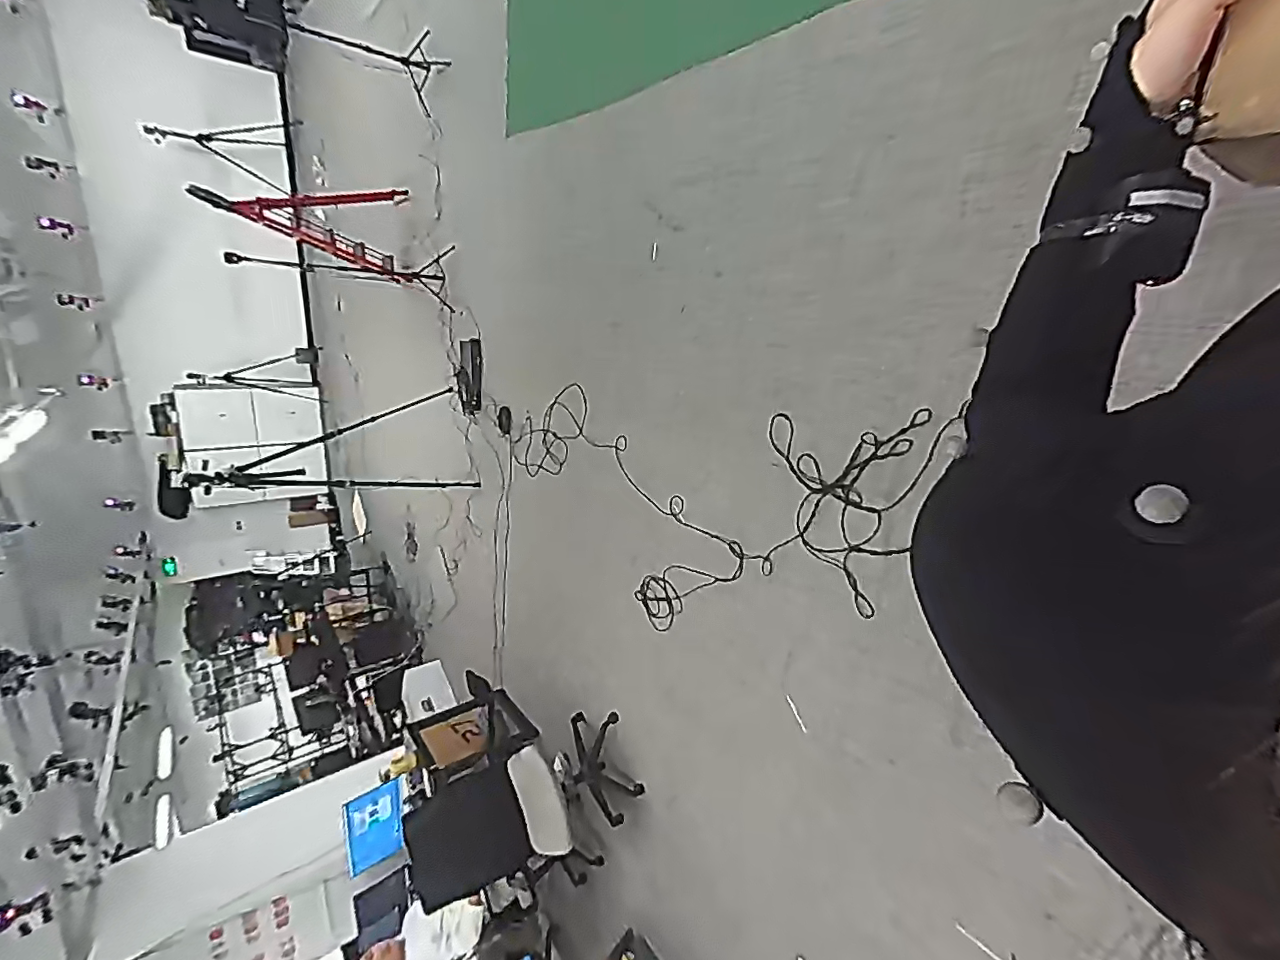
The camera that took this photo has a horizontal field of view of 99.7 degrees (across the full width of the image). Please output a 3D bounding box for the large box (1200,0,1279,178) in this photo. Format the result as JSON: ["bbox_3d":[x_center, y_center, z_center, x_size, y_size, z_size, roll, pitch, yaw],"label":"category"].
[{"bbox_3d":[0.632,-0.363,0.266,0.408,0.320,0.320,24,121,49],"label":"large box"}]
